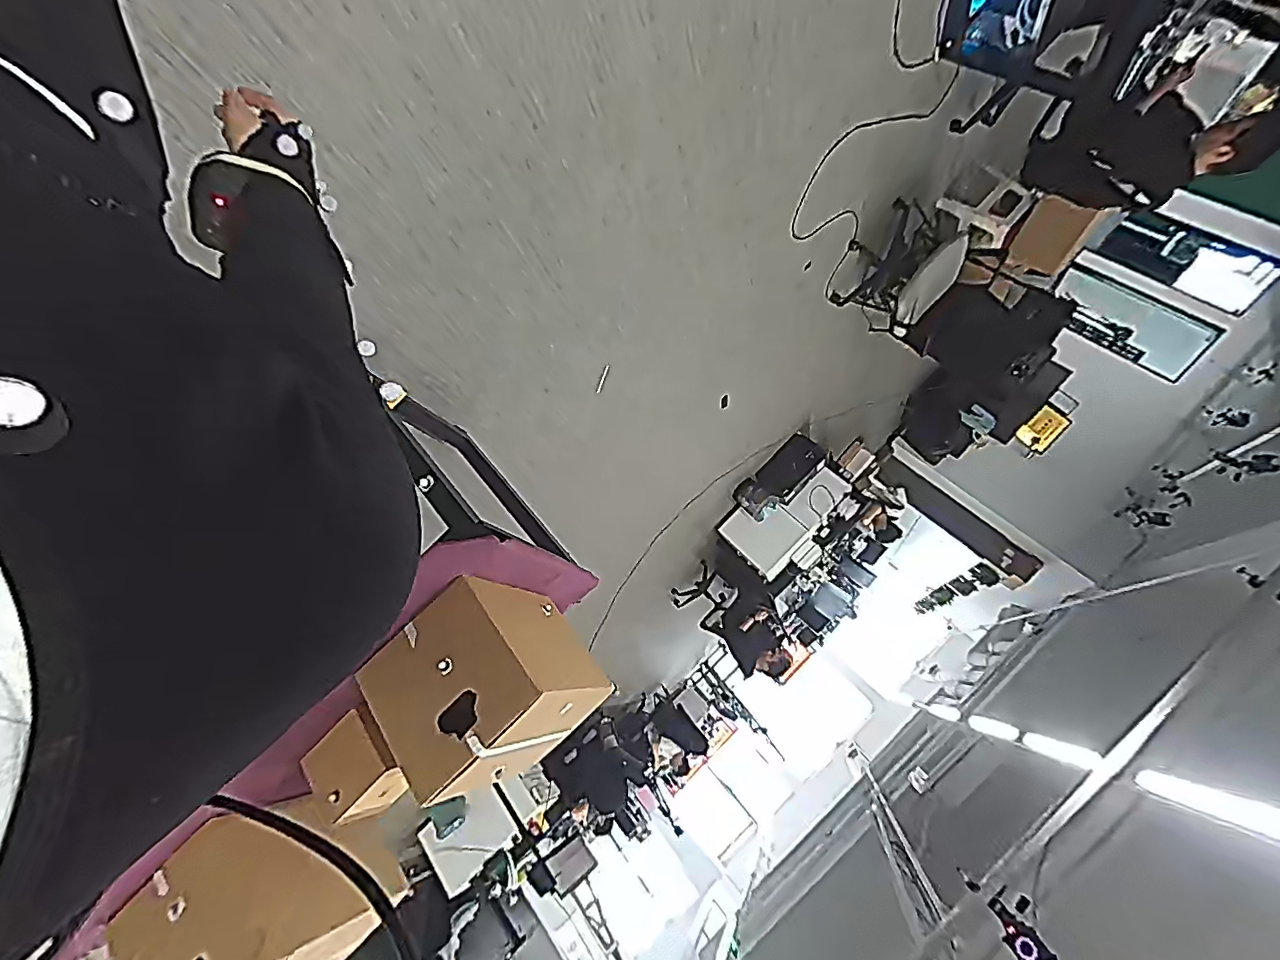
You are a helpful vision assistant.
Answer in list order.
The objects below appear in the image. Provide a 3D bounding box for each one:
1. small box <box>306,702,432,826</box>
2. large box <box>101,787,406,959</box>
[{"bbox_3d":[-0.624,0.636,1.234,0.179,0.176,0.168,-45,155,-1],"label":"small box"},{"bbox_3d":[-0.835,0.940,1.210,0.320,0.320,0.408,-45,156,-1],"label":"large box"}]
